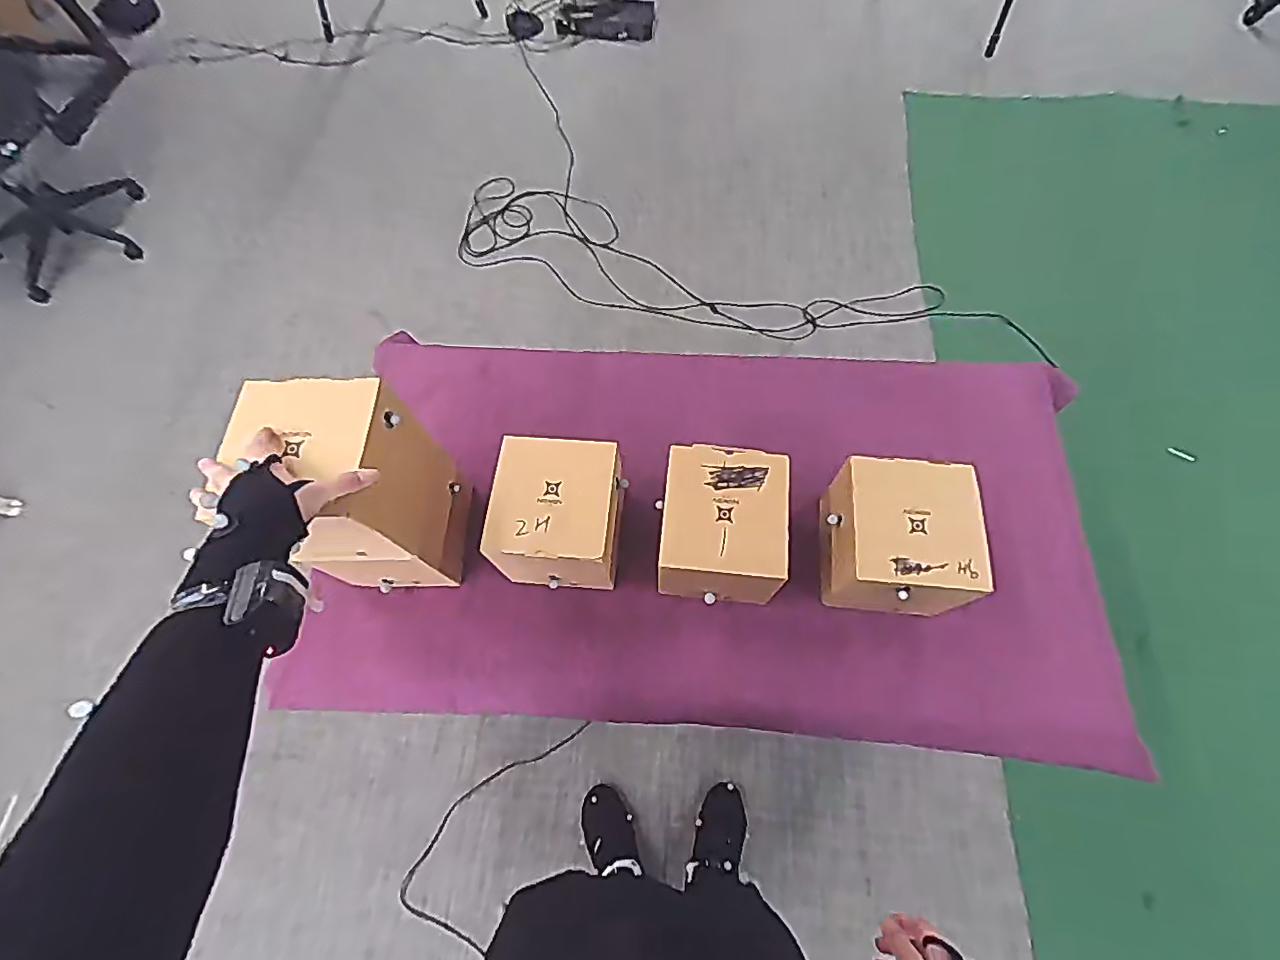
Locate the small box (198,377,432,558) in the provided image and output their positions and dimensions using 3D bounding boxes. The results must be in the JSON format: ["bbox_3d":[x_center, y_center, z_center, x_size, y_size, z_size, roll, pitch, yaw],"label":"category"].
[{"bbox_3d":[-0.375,-0.006,0.665,0.168,0.176,0.179,-1,65,3],"label":"small box"}]

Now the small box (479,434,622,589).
[{"bbox_3d":[-0.119,0.052,0.804,0.168,0.176,0.179,4,67,4],"label":"small box"}]

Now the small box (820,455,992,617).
[{"bbox_3d":[0.359,0.085,0.767,0.168,0.176,0.179,5,66,5],"label":"small box"}]

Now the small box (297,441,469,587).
[{"bbox_3d":[-0.369,0.056,0.814,0.168,0.176,0.179,-1,67,3],"label":"small box"}]

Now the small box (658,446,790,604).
[{"bbox_3d":[0.115,0.071,0.785,0.168,0.176,0.179,6,68,5],"label":"small box"}]
